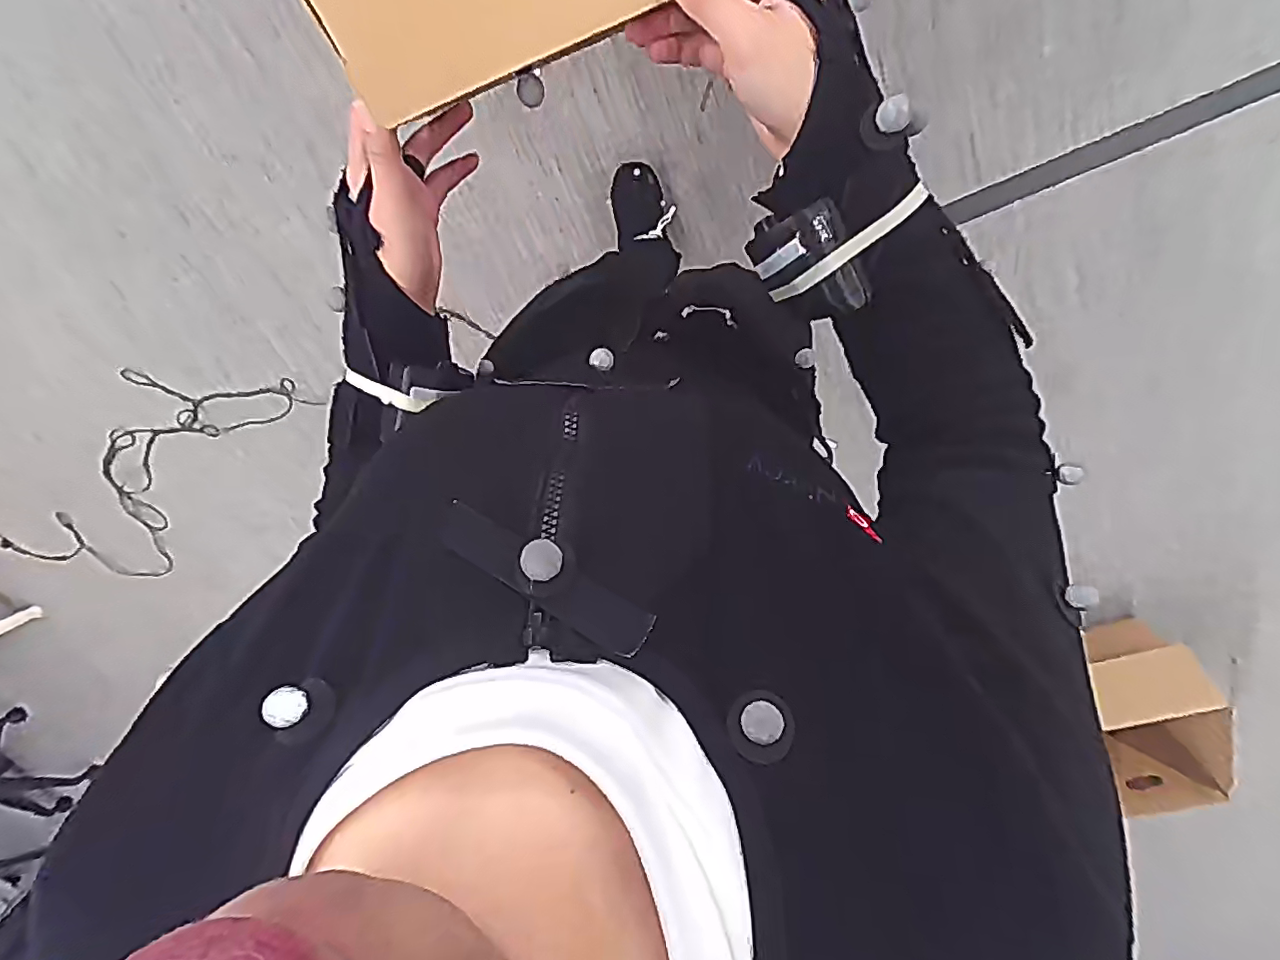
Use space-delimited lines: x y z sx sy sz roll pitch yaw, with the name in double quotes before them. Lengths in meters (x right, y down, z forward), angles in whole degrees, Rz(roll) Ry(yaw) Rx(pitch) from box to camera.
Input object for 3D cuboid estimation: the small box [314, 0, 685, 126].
"small box" -0.089 -0.315 0.281 0.179 0.176 0.168 -21 128 5
